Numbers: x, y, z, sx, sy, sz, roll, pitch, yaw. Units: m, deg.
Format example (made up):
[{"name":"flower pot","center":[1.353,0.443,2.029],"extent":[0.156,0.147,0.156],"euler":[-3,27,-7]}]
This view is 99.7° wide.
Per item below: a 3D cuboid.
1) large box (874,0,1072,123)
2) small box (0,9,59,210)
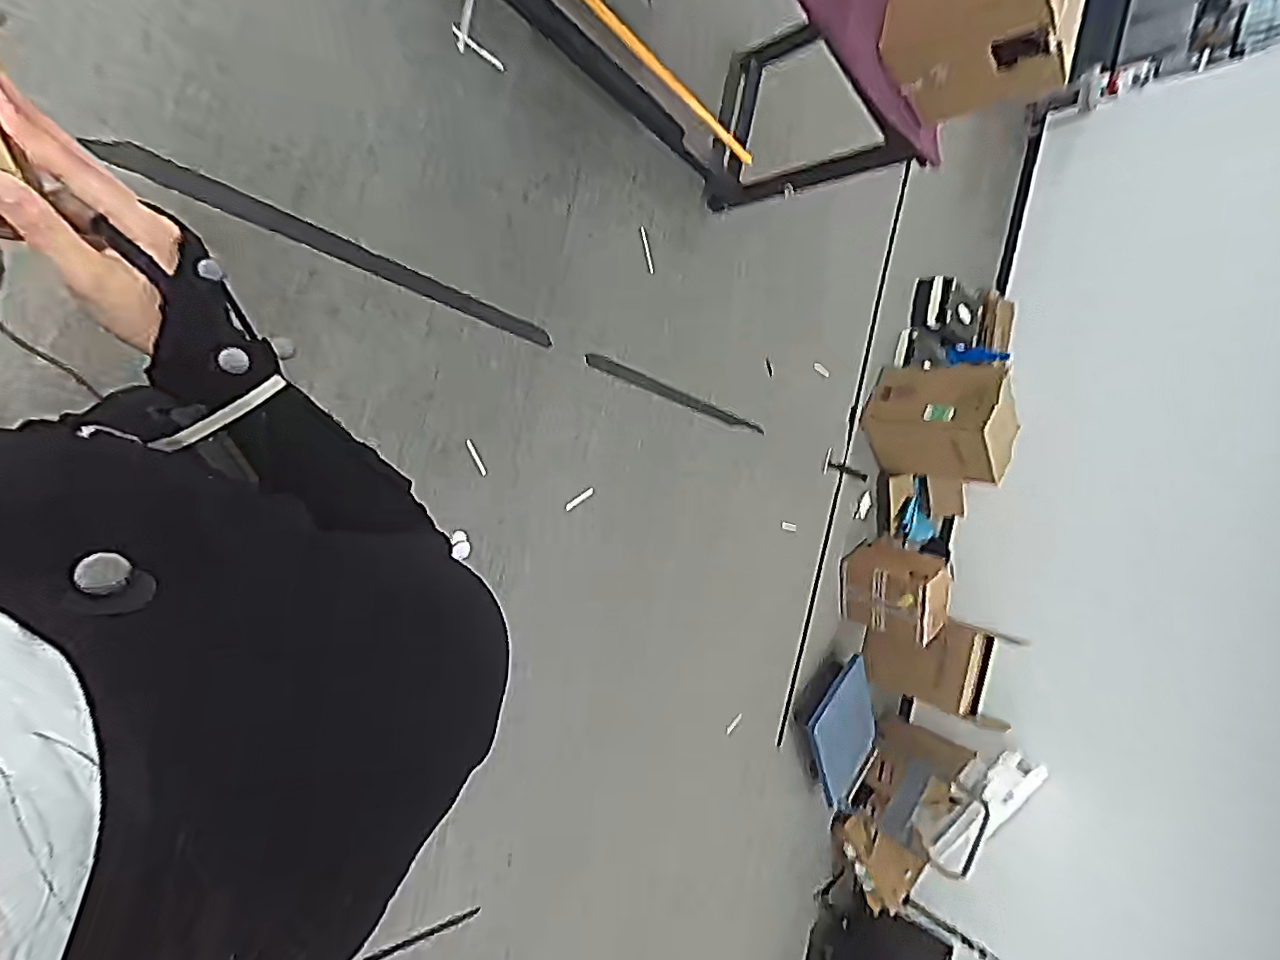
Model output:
[{"name":"large box","center":[0.765,-1.128,1.216],"extent":[0.320,0.320,0.408],"euler":[12,89,-46]},{"name":"small box","center":[-0.394,-0.217,0.219],"extent":[0.179,0.176,0.168],"euler":[-23,139,-34]}]
